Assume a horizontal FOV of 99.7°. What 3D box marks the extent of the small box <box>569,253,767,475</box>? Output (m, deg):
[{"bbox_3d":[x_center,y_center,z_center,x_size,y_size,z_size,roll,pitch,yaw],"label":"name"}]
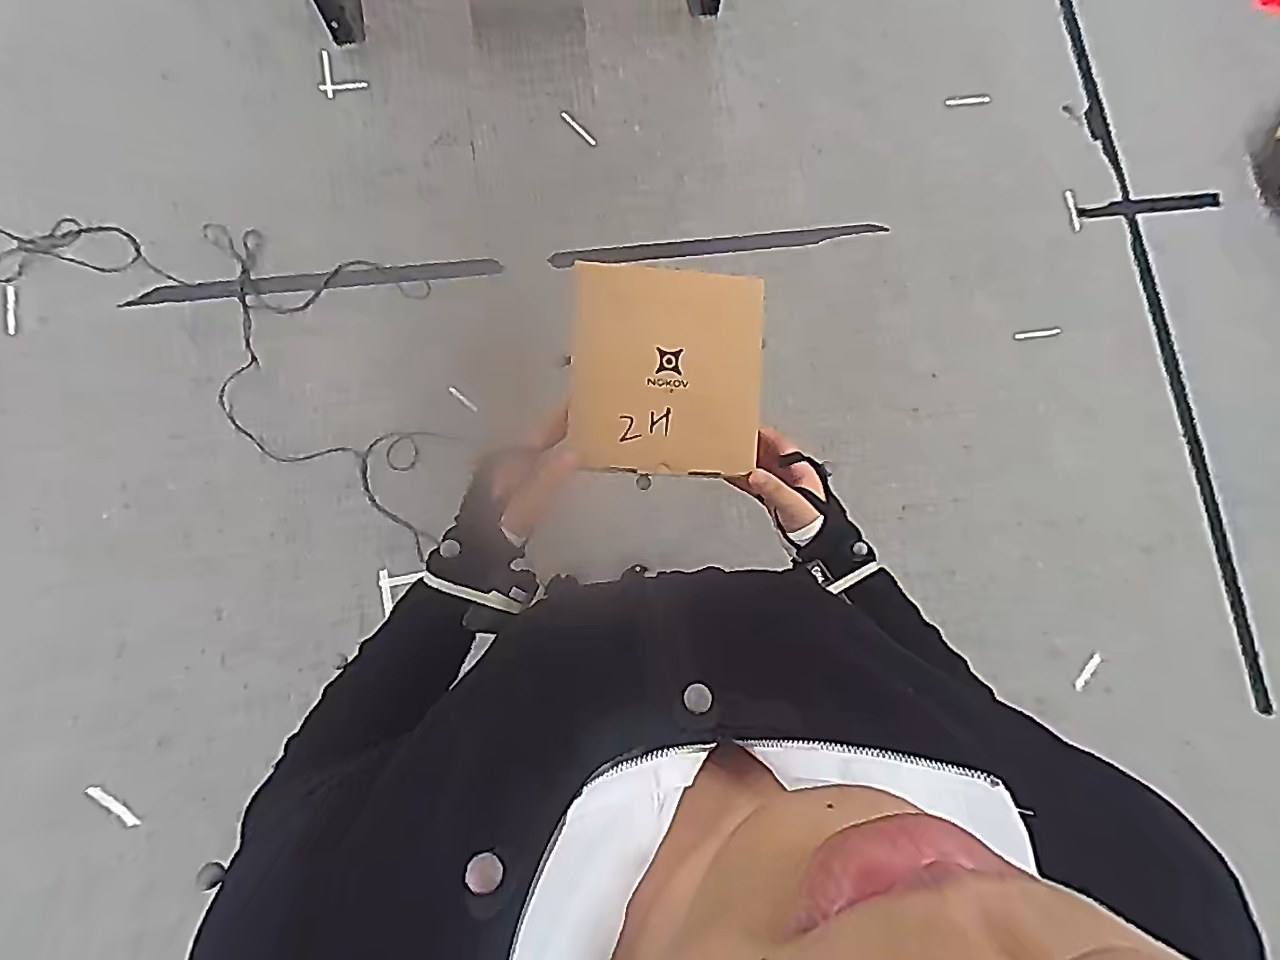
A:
[{"bbox_3d":[0.016,-0.098,0.539,0.168,0.176,0.179,3,89,-7],"label":"small box"}]
